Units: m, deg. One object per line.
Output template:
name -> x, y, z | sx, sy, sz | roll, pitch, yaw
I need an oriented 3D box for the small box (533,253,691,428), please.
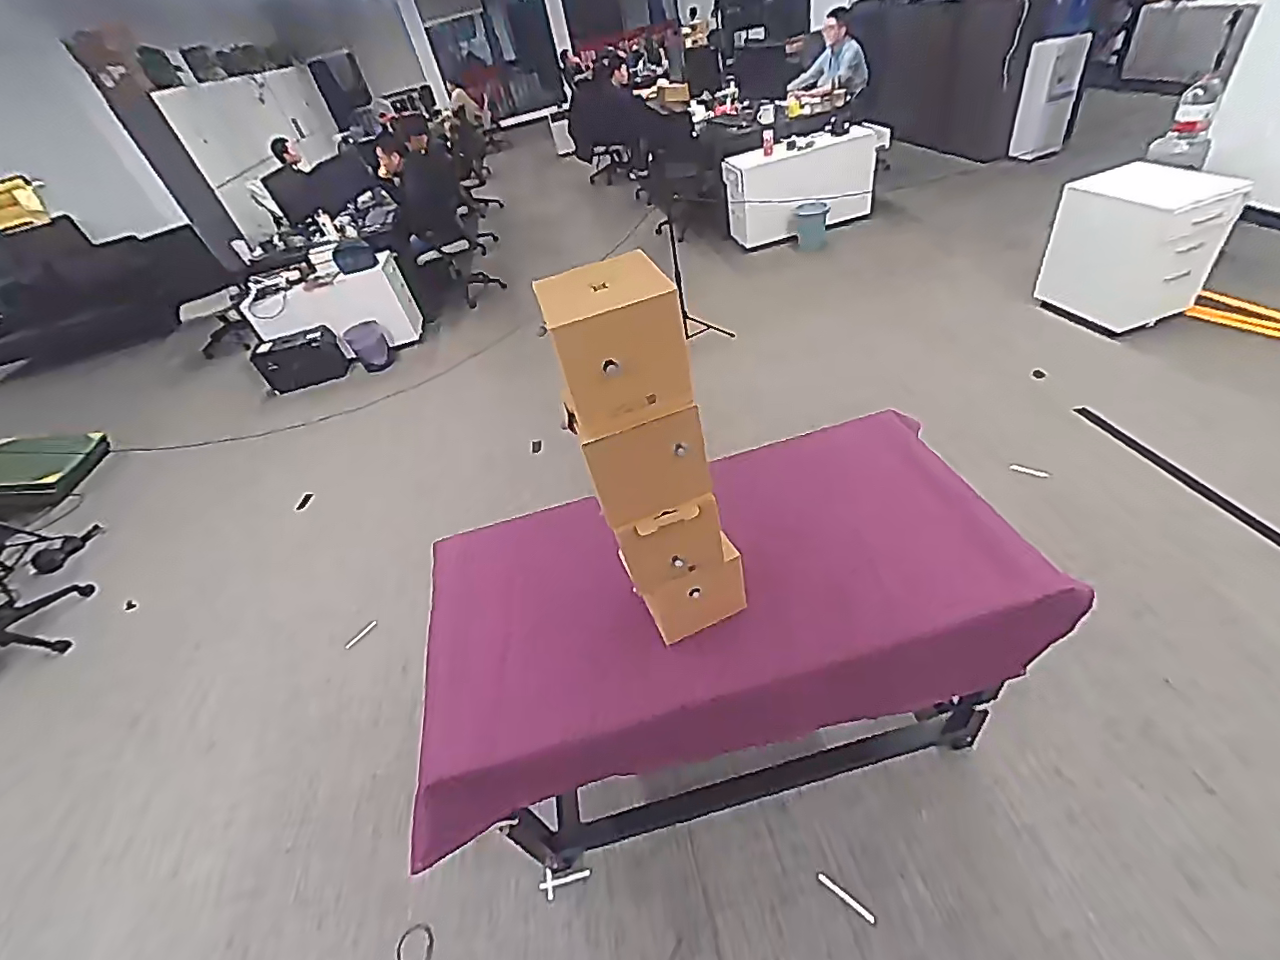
small box -> -0.038, -0.190, 0.762 | 0.168, 0.176, 0.179 | -19, 40, -5

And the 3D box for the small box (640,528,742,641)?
small box -> 0.086, 0.183, 1.059 | 0.179, 0.176, 0.168 | -23, 42, -10

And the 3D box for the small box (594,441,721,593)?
small box -> 0.032, 0.065, 0.955 | 0.168, 0.176, 0.179 | -20, 41, -5
